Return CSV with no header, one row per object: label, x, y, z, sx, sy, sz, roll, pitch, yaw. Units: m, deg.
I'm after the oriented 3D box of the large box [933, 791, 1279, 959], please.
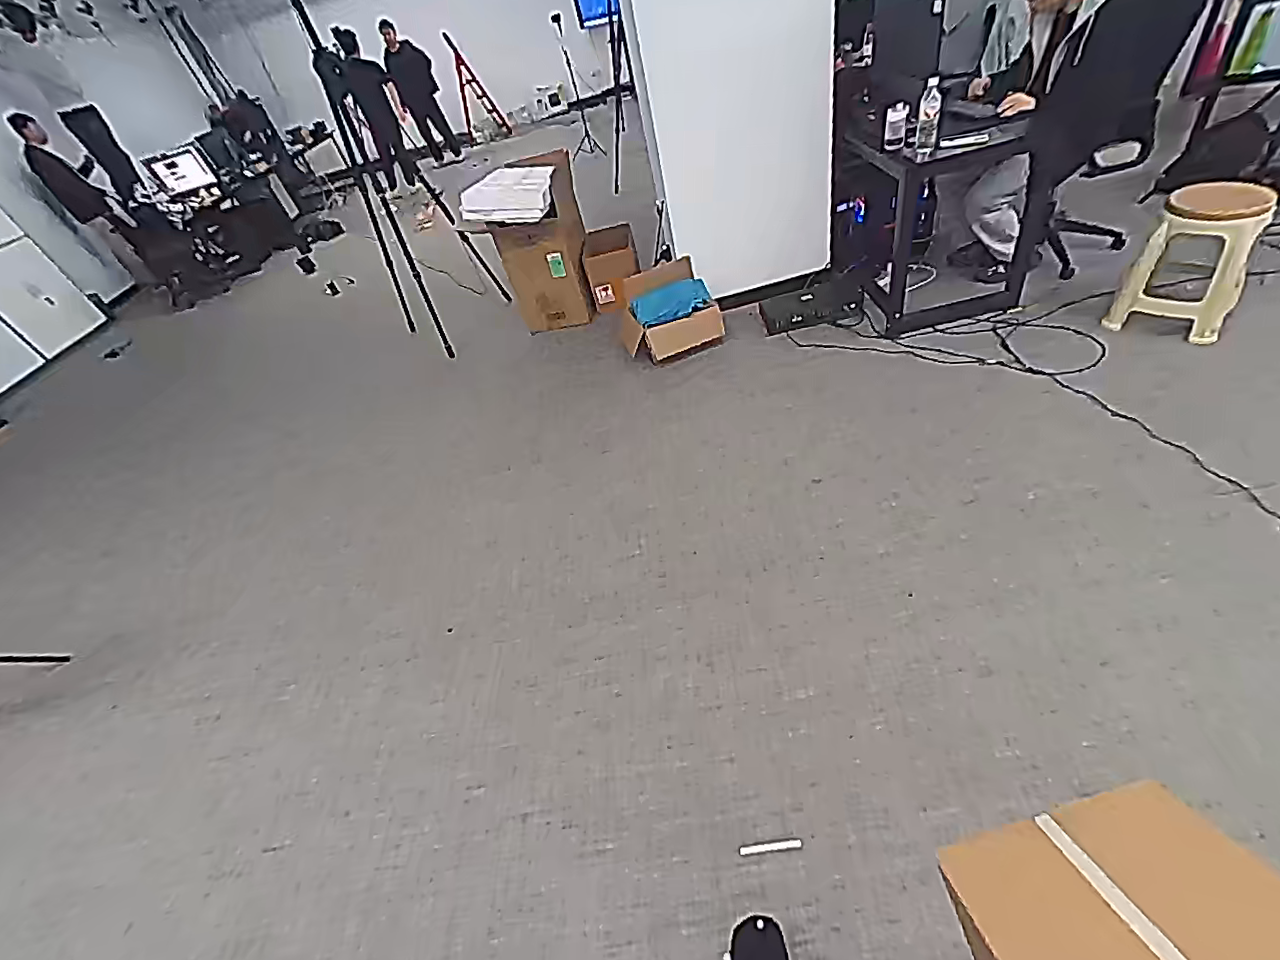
large box,0.599,0.638,0.567,0.320,0.320,0.408,-24,6,5
